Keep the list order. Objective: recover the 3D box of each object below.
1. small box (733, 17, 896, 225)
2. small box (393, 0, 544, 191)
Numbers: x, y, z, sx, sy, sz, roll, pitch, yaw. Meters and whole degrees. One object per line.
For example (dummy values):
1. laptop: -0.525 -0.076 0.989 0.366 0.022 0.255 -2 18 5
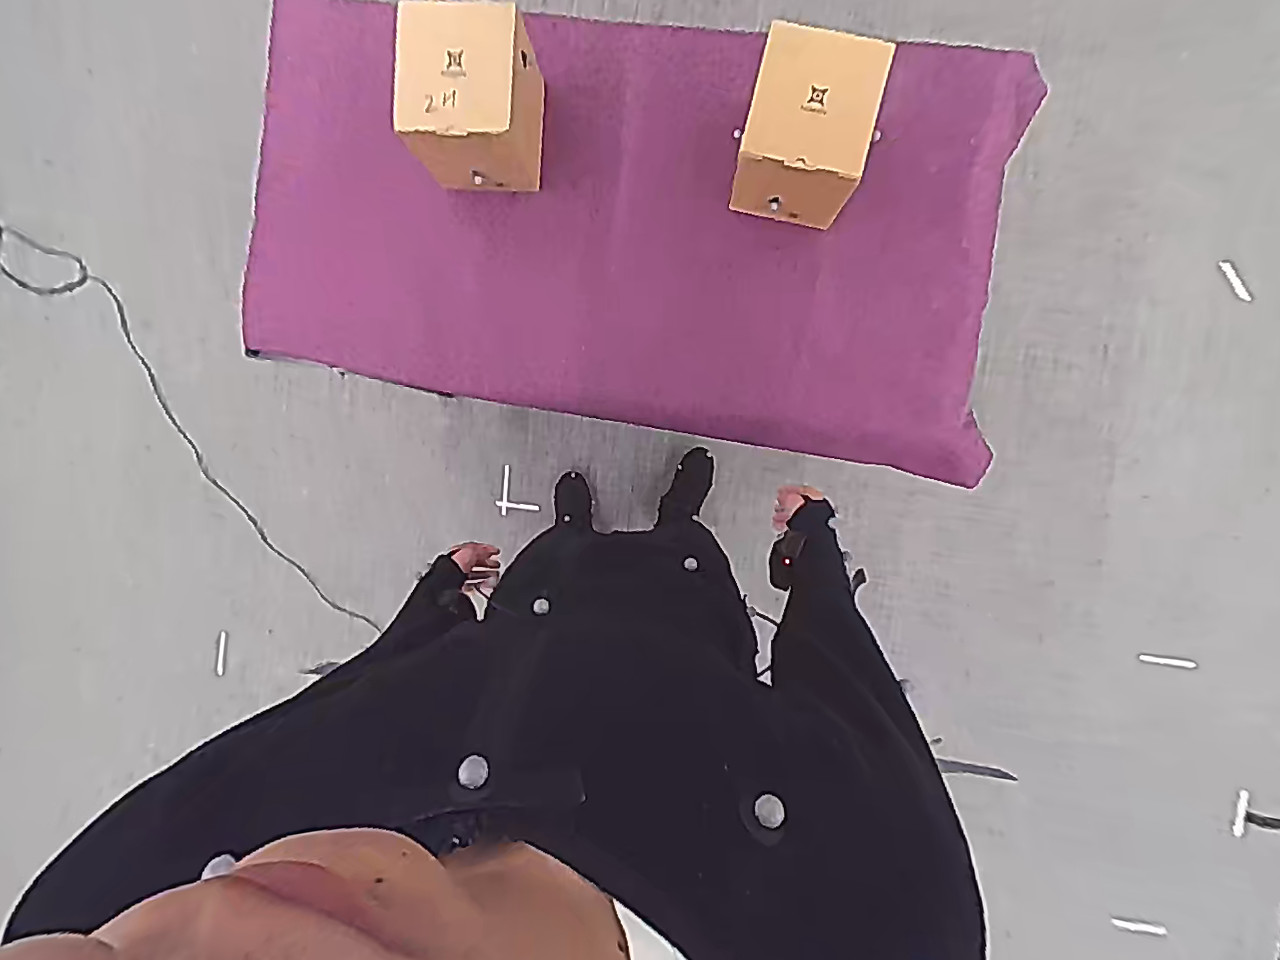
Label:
1. small box: 0.238 -0.505 0.785 0.168 0.176 0.179 14 94 3
2. small box: -0.246 -0.567 0.812 0.168 0.176 0.179 4 93 3
